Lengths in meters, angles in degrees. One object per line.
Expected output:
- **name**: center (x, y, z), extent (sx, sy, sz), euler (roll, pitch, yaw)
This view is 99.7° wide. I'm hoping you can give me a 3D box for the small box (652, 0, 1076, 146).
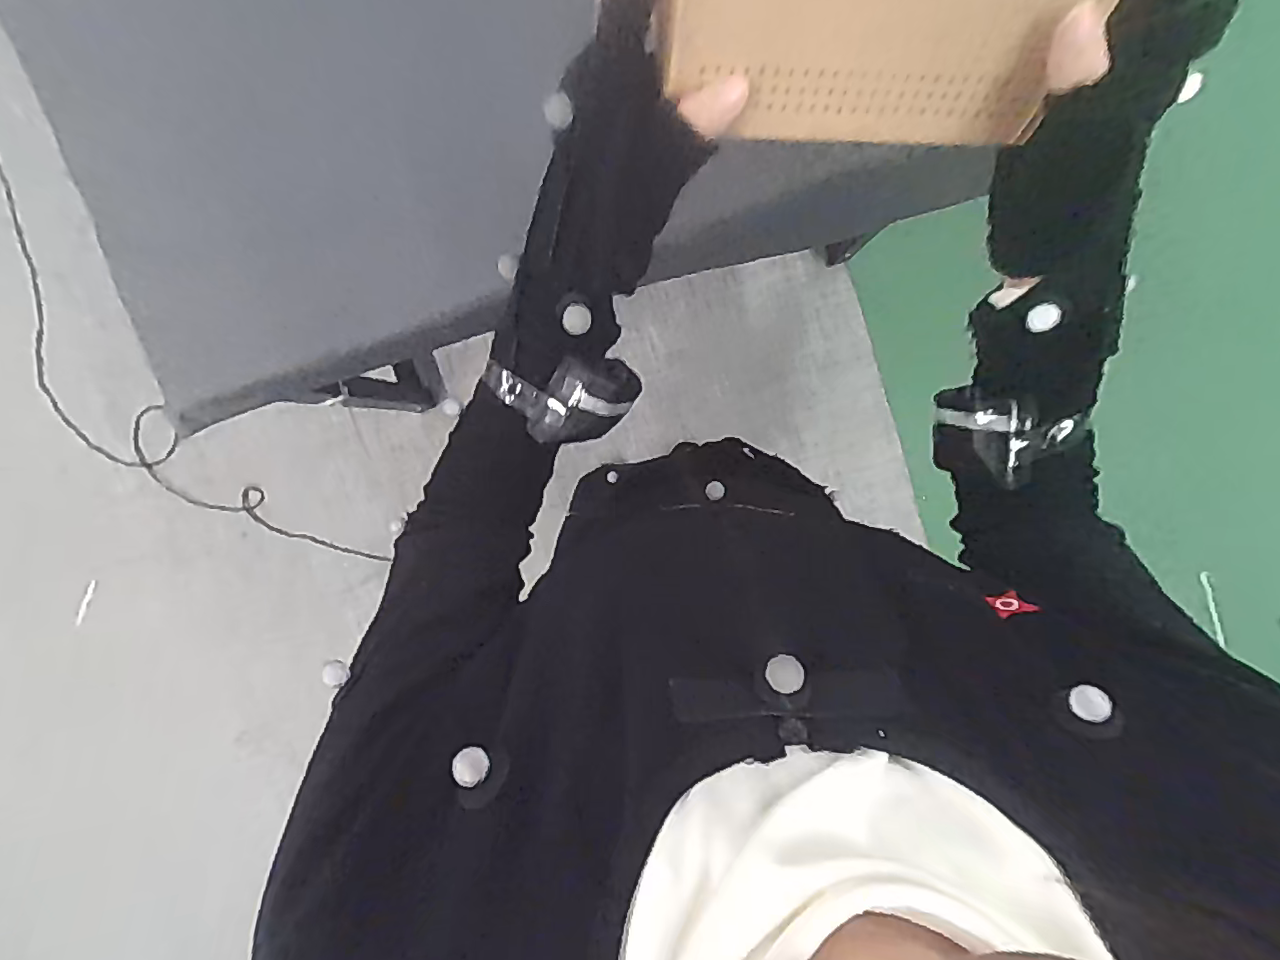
- **small box**: center (0.094, -0.271, 0.231), extent (0.179, 0.176, 0.168), euler (0, 61, -3)
